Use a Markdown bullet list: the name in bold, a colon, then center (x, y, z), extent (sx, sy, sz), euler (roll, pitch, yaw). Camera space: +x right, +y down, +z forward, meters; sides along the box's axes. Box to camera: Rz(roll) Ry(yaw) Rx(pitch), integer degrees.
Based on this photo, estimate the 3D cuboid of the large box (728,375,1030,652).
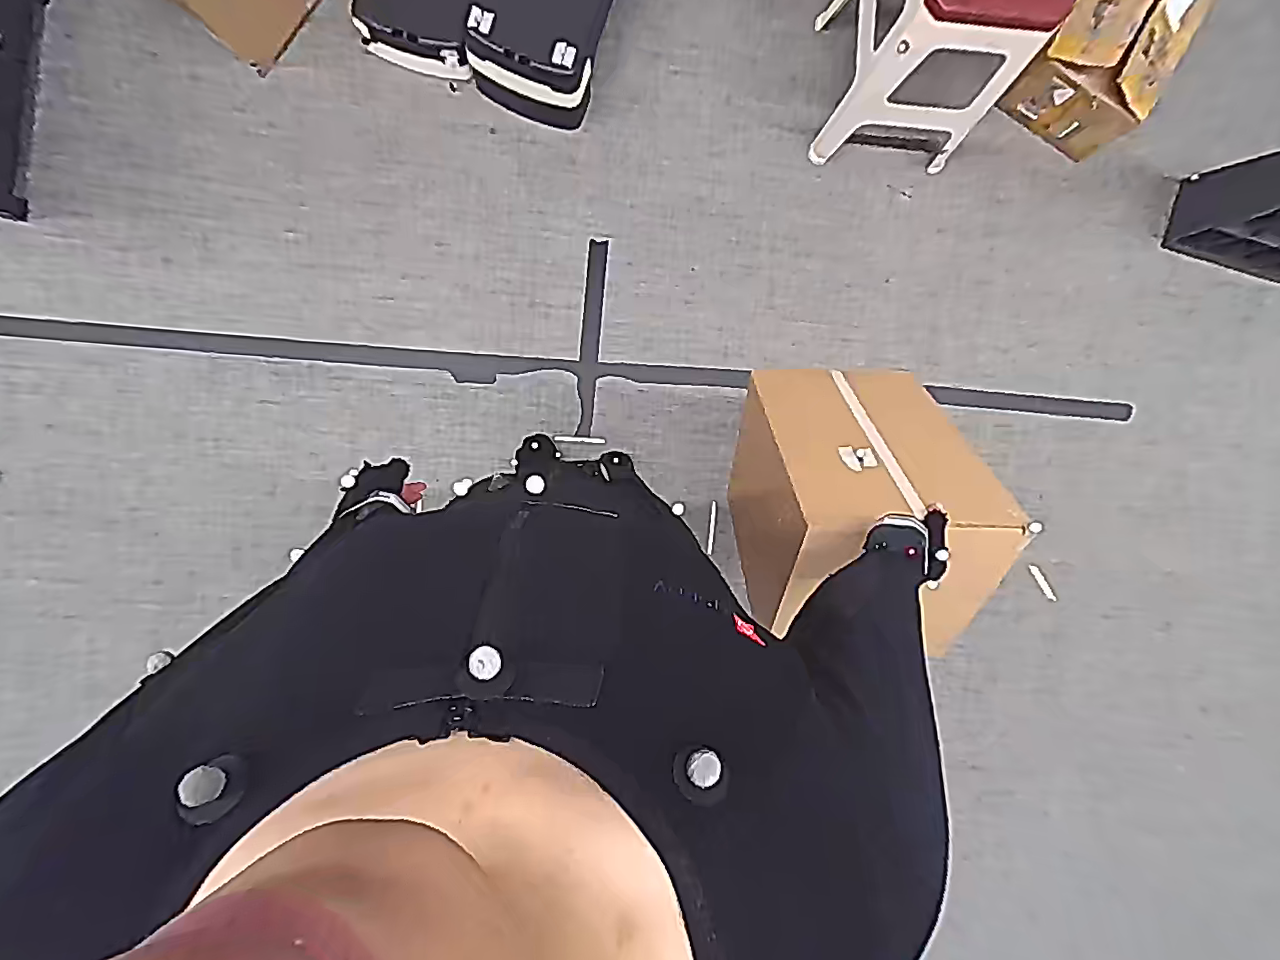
- **large box**: center (0.364, 0.051, 0.973), extent (0.320, 0.408, 0.320), euler (1, 132, -3)
